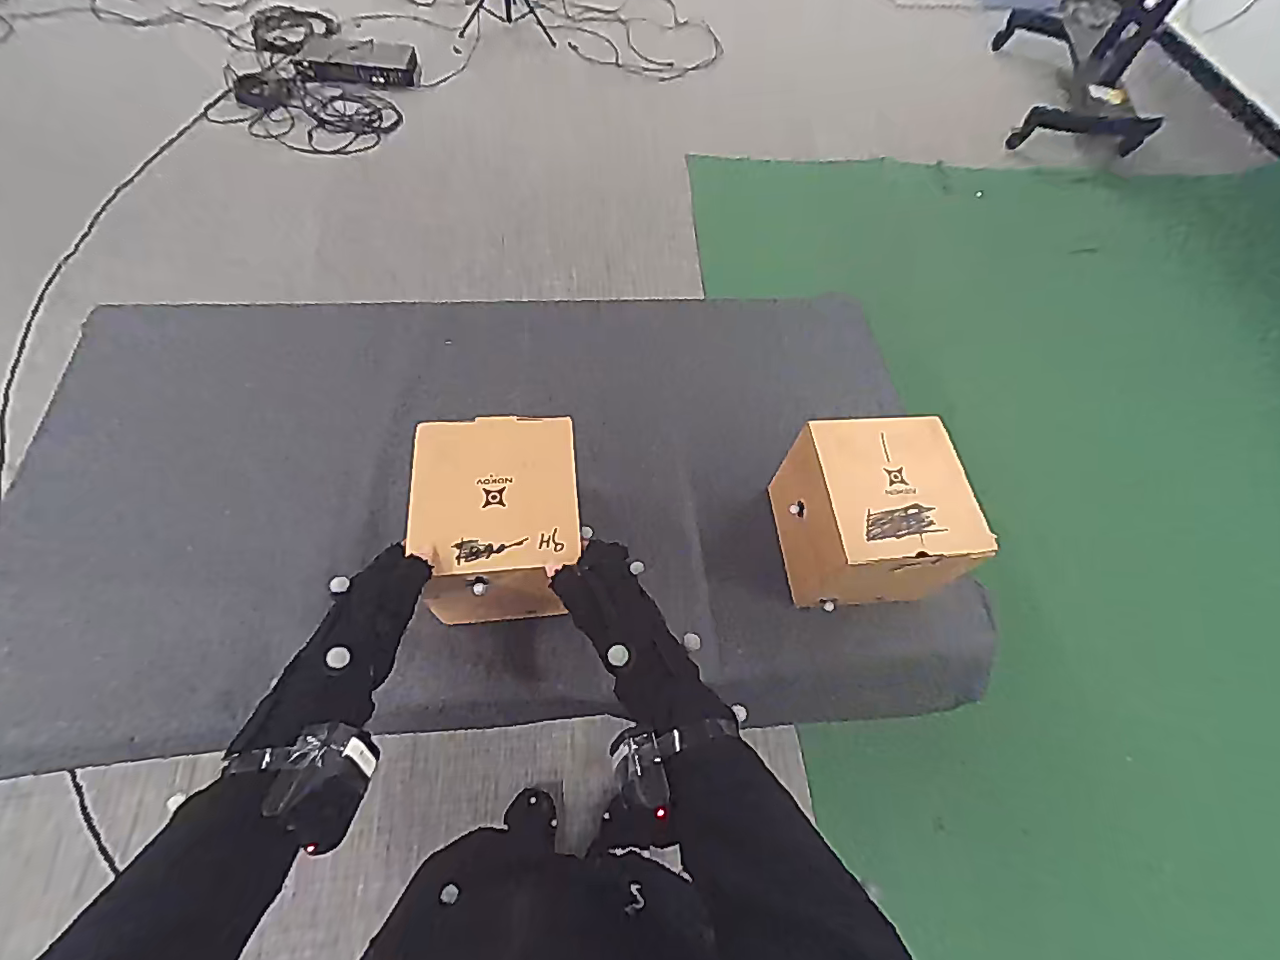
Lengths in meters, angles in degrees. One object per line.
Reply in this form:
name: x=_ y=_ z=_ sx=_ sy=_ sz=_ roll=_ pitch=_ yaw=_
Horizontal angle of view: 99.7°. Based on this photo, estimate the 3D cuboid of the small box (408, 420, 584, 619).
small box: x=-0.152 y=0.050 z=0.624 sx=0.168 sy=0.176 sz=0.179 roll=-3 pitch=63 yaw=-7

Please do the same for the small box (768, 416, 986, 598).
small box: x=0.271 y=0.041 z=0.667 sx=0.168 sy=0.176 sz=0.179 roll=-2 pitch=61 yaw=-6
